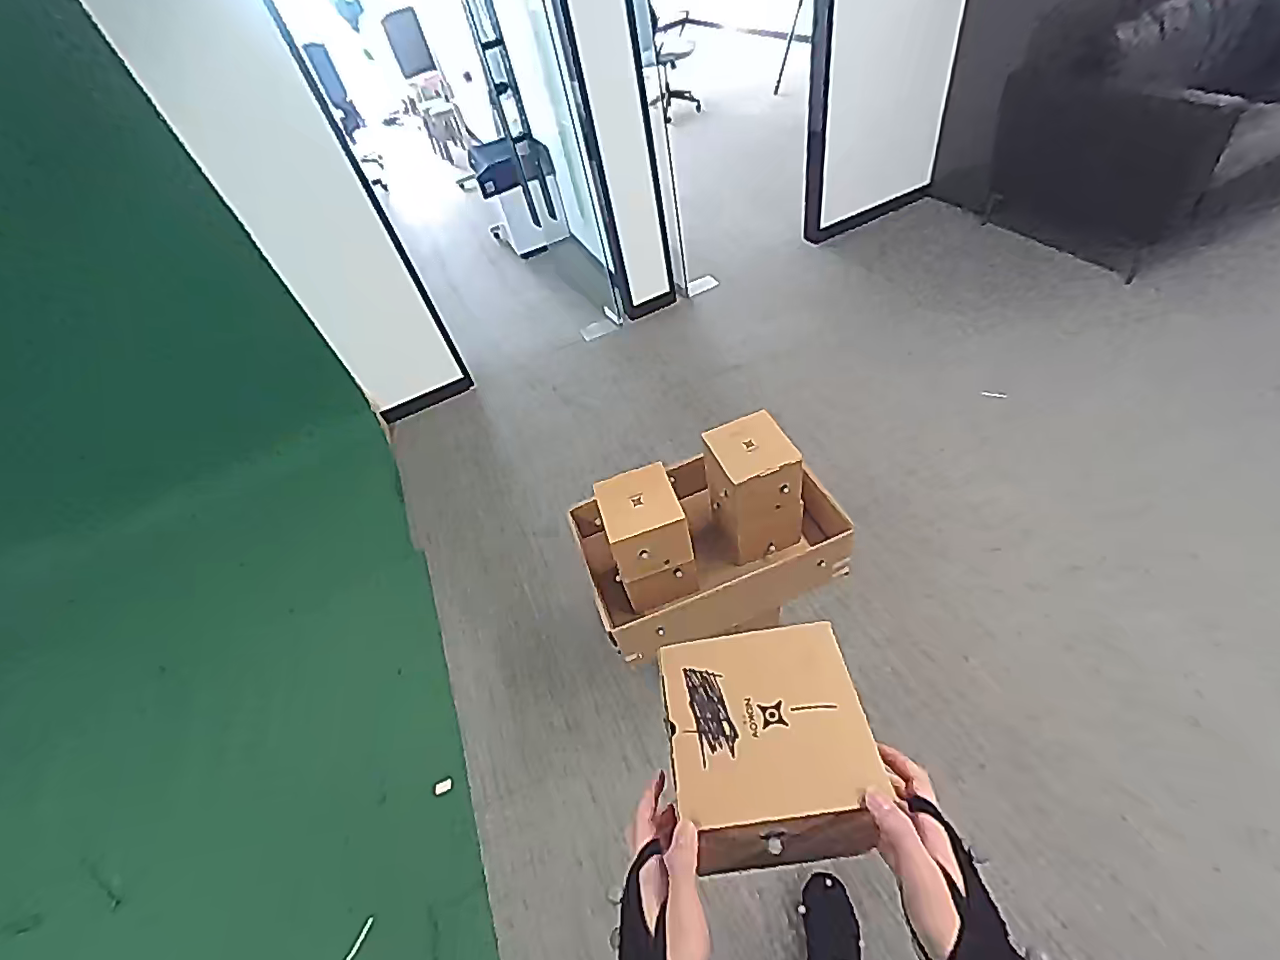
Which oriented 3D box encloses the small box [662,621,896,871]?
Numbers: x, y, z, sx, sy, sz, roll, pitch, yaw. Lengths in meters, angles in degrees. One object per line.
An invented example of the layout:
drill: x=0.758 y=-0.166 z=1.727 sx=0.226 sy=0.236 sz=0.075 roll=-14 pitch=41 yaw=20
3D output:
small box: x=0.125 y=0.267 z=0.539 sx=0.179 sy=0.176 sz=0.168 roll=-9 pitch=43 yaw=3

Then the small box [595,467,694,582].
small box: x=0.013 y=0.106 z=1.208 sx=0.168 sy=0.176 sz=0.179 roll=-19 pitch=47 yaw=-3

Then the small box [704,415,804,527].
small box: x=0.262 y=-0.013 z=1.249 sx=0.168 sy=0.176 sz=0.179 roll=-20 pitch=47 yaw=-6
